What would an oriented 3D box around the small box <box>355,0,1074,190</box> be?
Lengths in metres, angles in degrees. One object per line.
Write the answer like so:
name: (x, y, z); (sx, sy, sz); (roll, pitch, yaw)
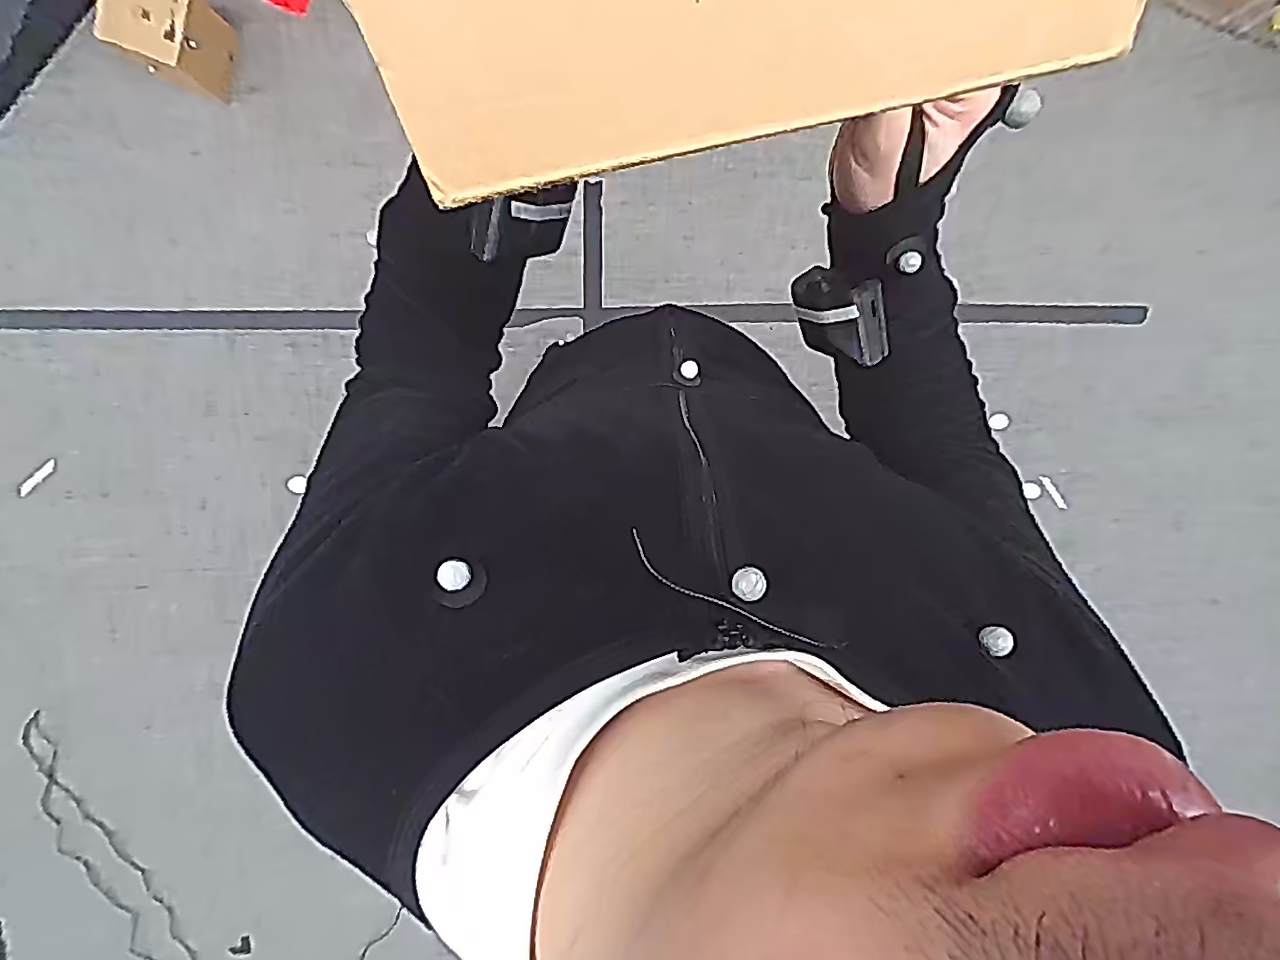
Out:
small box: (0.009, -0.208, 0.145); (0.168, 0.176, 0.179); (-6, 134, 10)
